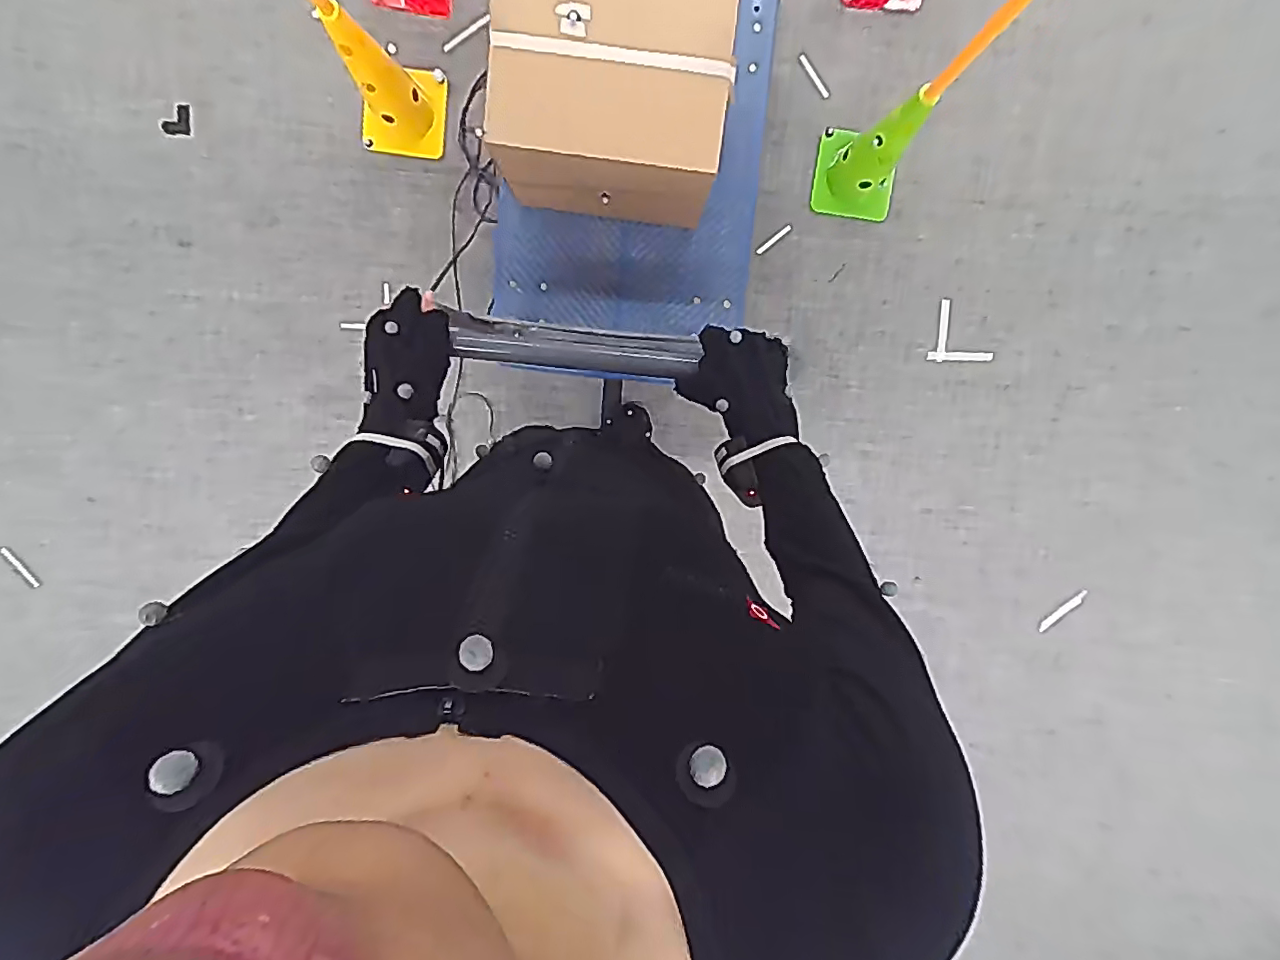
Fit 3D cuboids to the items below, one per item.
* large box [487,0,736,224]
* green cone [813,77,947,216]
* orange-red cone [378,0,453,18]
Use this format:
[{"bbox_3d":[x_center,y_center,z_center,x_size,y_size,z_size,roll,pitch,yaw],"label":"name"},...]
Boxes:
[{"bbox_3d":[-0.048,-0.719,1.053,0.408,0.320,0.320,7,98,0],"label":"large box"},{"bbox_3d":[0.549,-0.758,1.194,0.202,0.368,0.200,7,98,-2],"label":"green cone"},{"bbox_3d":[-0.535,-1.216,1.130,0.198,0.360,0.199,11,96,-3],"label":"orange-red cone"}]
